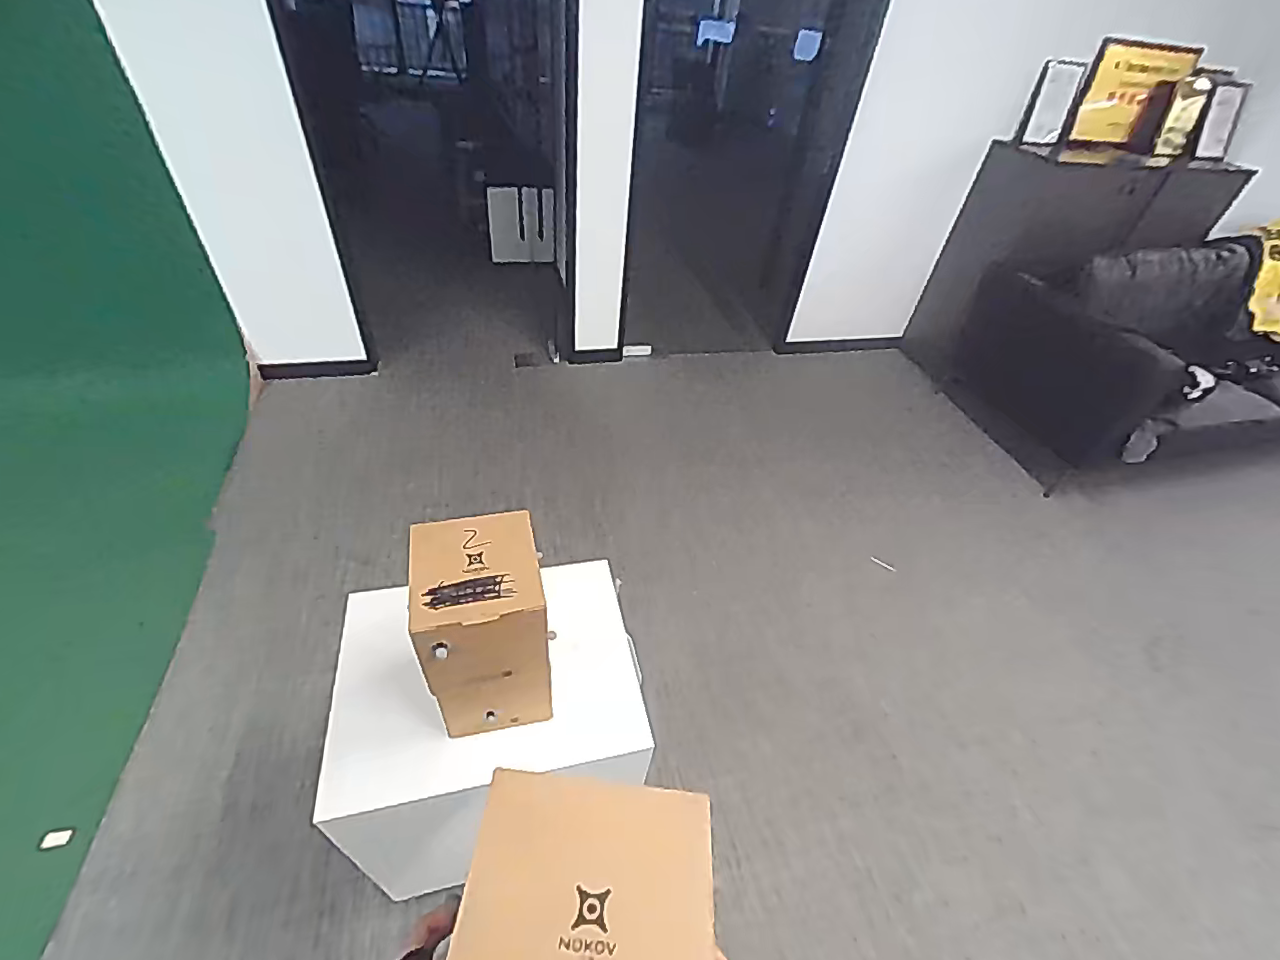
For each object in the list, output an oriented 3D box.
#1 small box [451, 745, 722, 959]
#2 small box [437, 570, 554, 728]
[{"bbox_3d":[-0.040,0.330,0.399,0.168,0.176,0.179,9,40,-2],"label":"small box"},{"bbox_3d":[-0.234,0.275,0.888,0.168,0.176,0.179,-6,45,-14],"label":"small box"}]
